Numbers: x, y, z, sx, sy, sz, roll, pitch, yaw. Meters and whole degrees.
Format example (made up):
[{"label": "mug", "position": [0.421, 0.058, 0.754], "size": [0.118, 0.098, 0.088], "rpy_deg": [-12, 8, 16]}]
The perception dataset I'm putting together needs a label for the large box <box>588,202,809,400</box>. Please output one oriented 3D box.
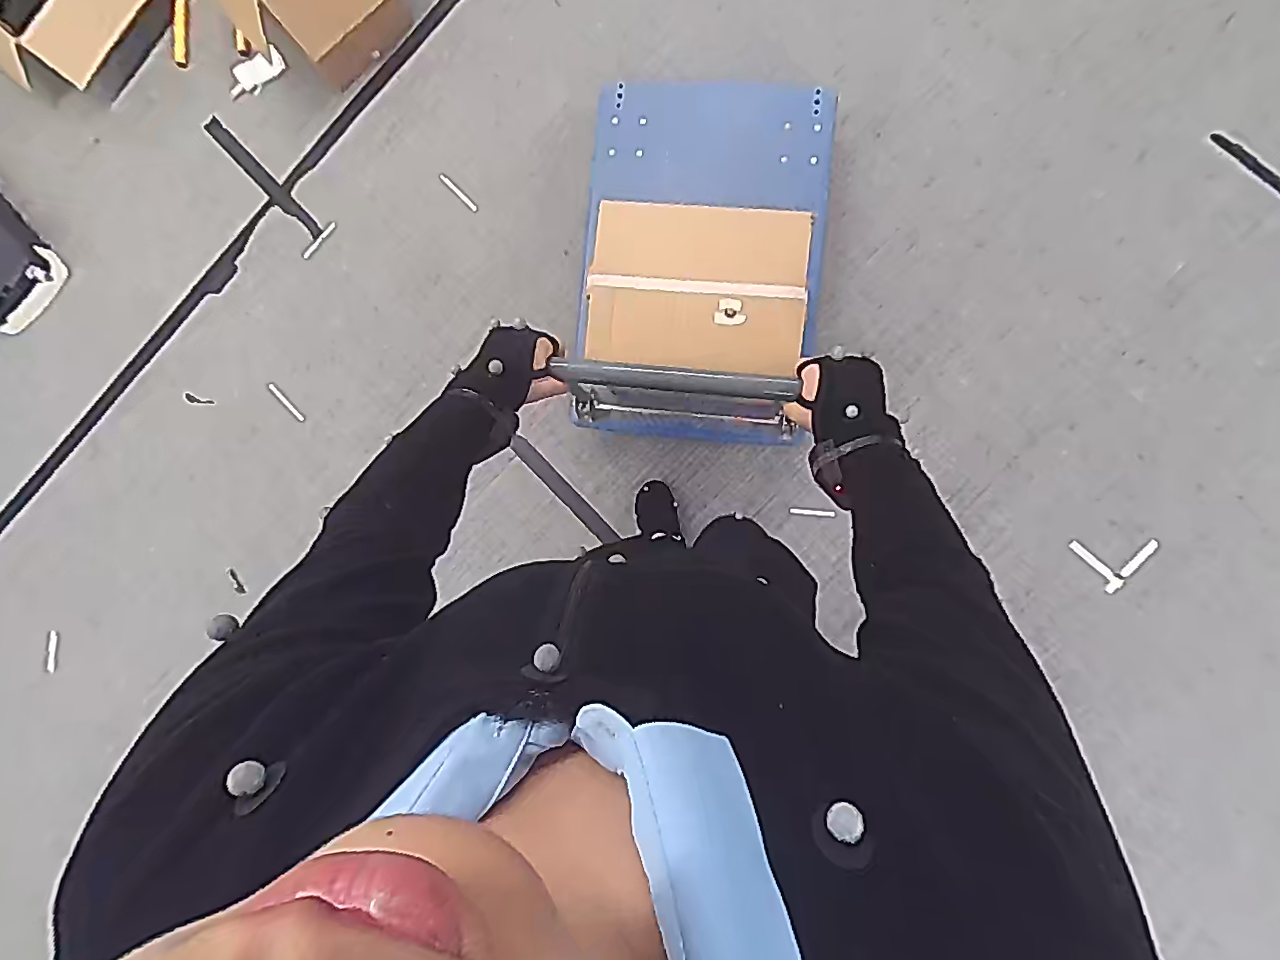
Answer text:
[{"label": "large box", "position": [0.116, -0.363, 1.170], "size": [0.408, 0.320, 0.320], "rpy_deg": [6, 90, 4]}]
